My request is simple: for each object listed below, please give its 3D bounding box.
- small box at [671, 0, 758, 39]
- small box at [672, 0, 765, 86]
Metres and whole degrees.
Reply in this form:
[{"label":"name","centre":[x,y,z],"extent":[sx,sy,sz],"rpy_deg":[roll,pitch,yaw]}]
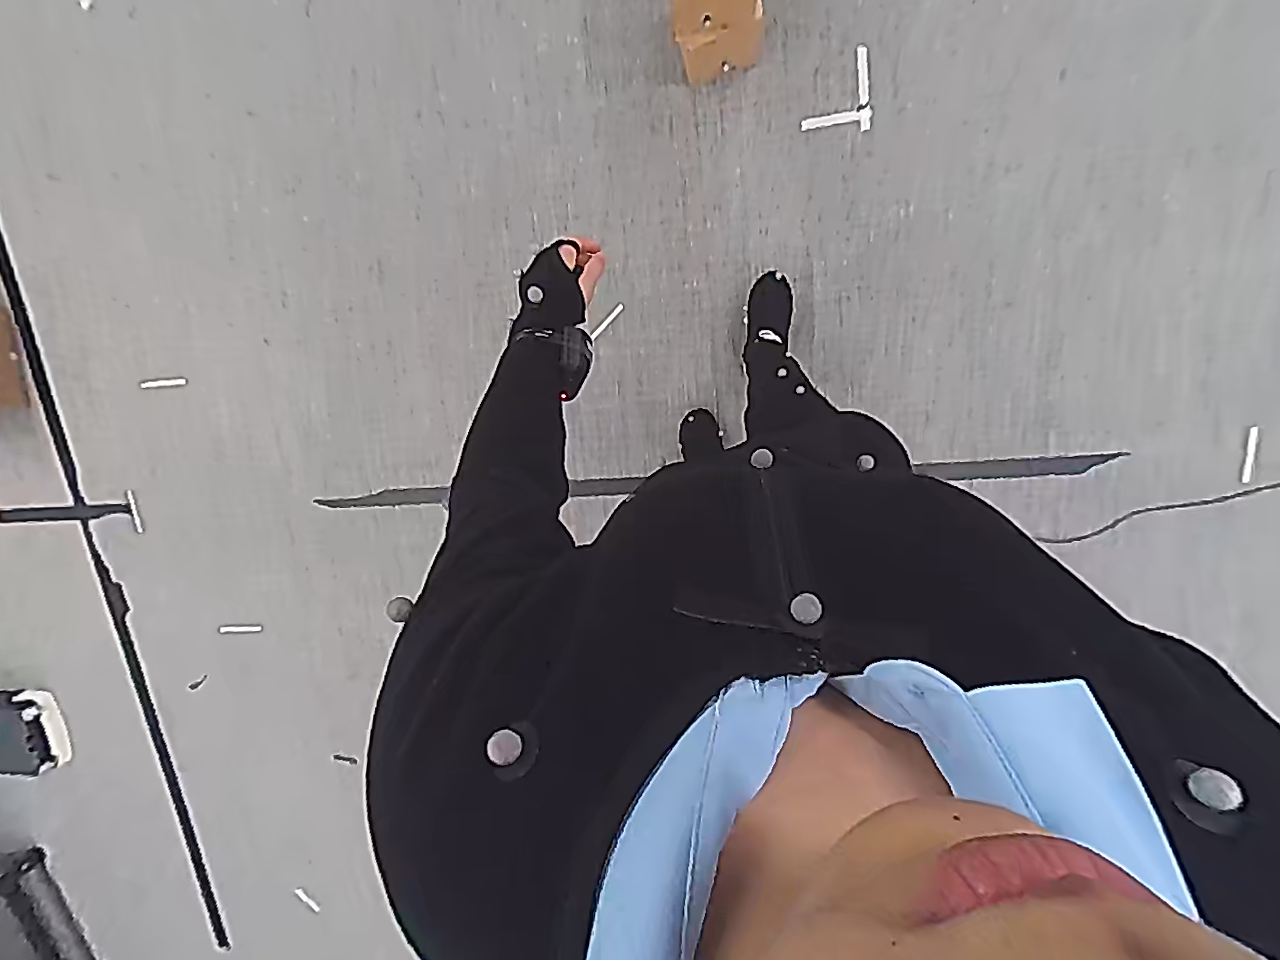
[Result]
[{"label":"small box","centre":[0.138,-0.989,1.023],"extent":[0.168,0.176,0.179],"rpy_deg":[-3,102,7]},{"label":"small box","centre":[0.164,-1.018,1.181],"extent":[0.168,0.176,0.179],"rpy_deg":[-15,100,10]}]
